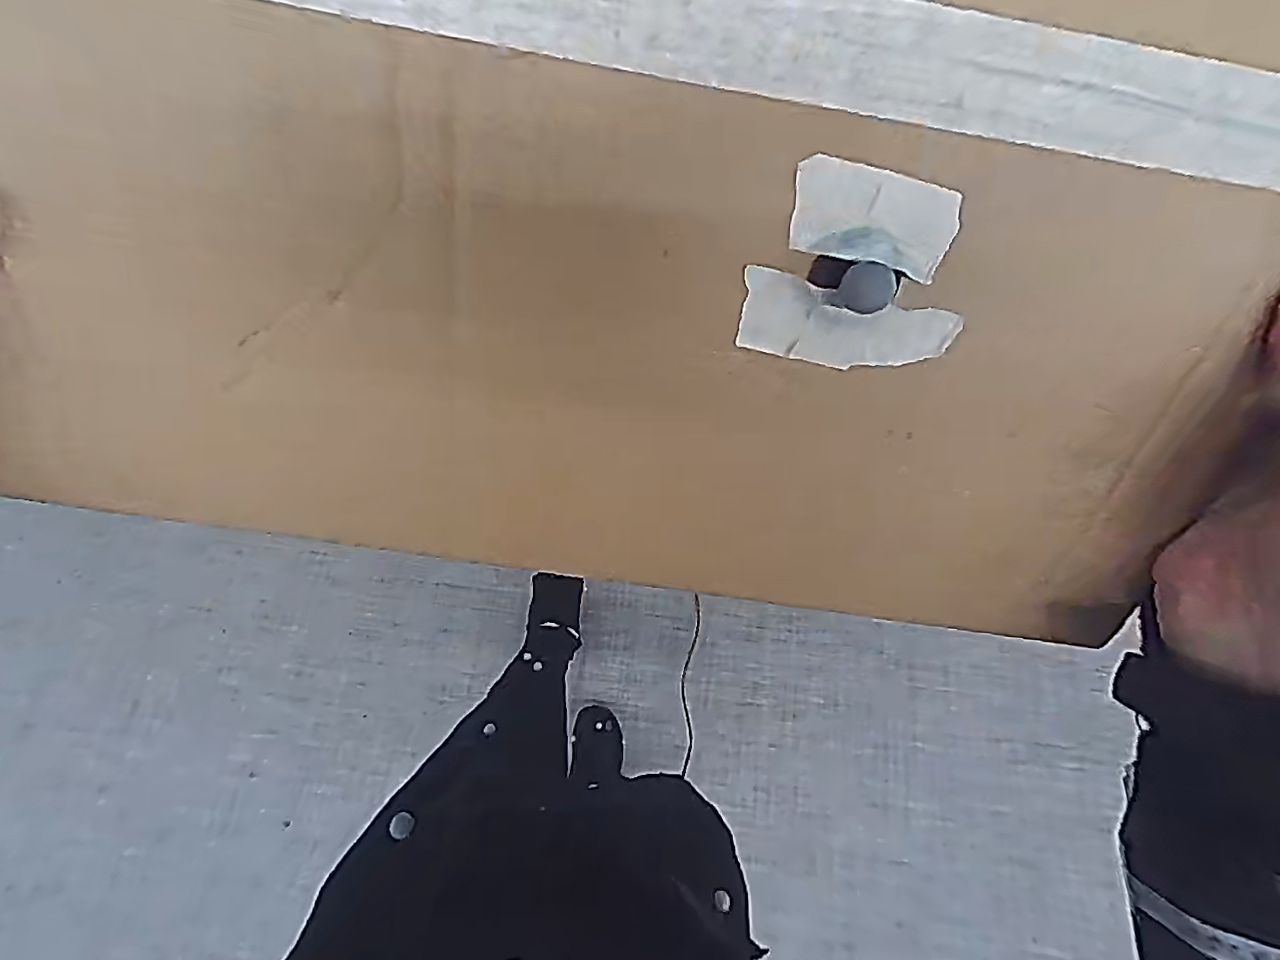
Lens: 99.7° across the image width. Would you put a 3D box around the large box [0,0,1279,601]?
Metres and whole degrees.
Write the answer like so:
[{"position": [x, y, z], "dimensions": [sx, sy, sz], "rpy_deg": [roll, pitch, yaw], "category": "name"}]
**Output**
[{"position": [-0.001, -0.177, 0.263], "dimensions": [0.408, 0.320, 0.320], "rpy_deg": [8, 29, -4], "category": "large box"}]
